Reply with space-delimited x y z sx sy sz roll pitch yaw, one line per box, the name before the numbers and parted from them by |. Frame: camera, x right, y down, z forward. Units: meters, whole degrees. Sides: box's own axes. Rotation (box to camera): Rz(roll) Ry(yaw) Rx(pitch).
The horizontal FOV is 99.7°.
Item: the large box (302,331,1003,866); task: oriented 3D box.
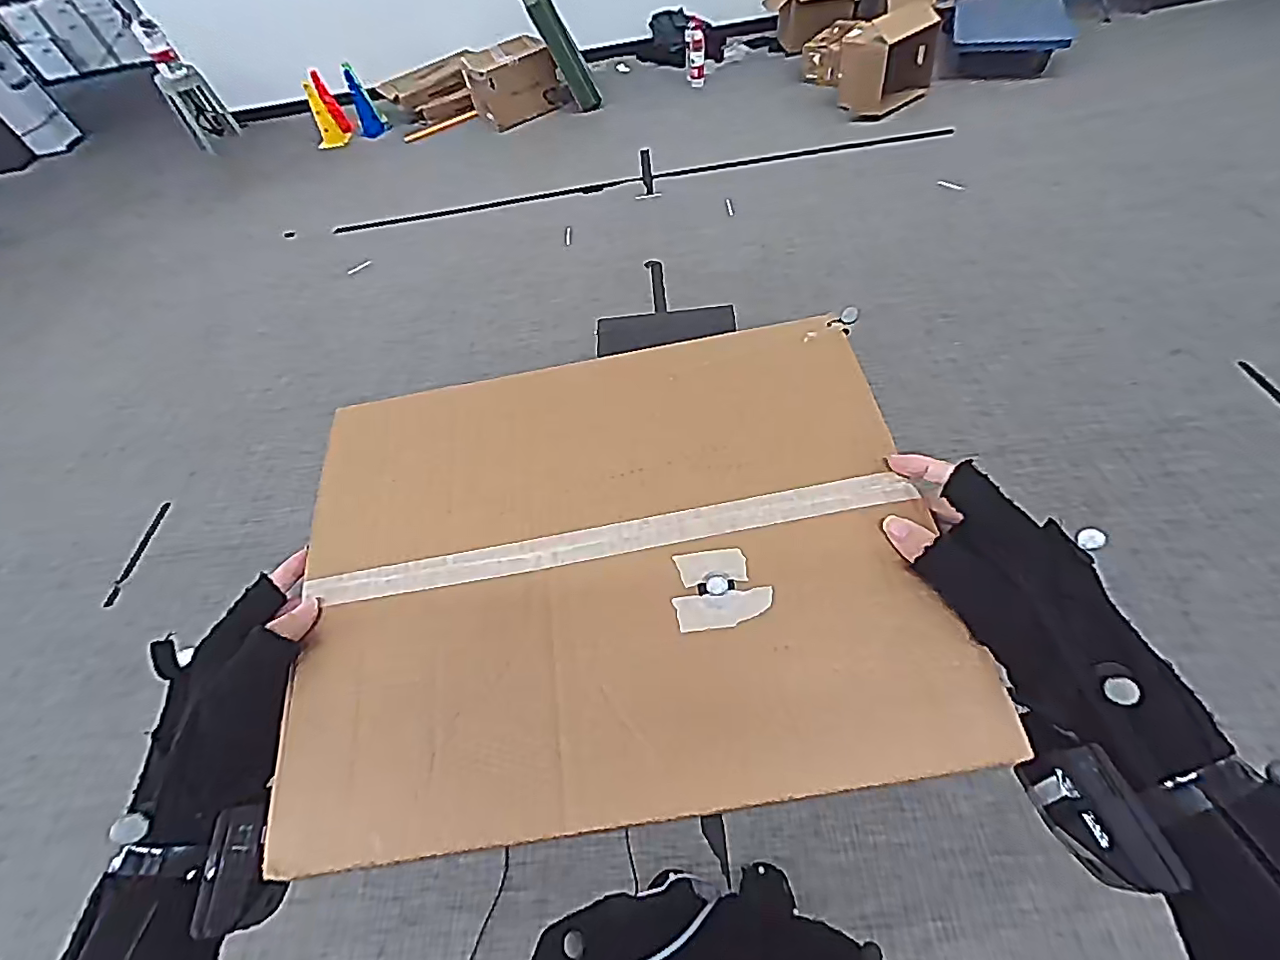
large box | -0.003 0.117 0.498 0.408 0.320 0.320 -10 61 1
